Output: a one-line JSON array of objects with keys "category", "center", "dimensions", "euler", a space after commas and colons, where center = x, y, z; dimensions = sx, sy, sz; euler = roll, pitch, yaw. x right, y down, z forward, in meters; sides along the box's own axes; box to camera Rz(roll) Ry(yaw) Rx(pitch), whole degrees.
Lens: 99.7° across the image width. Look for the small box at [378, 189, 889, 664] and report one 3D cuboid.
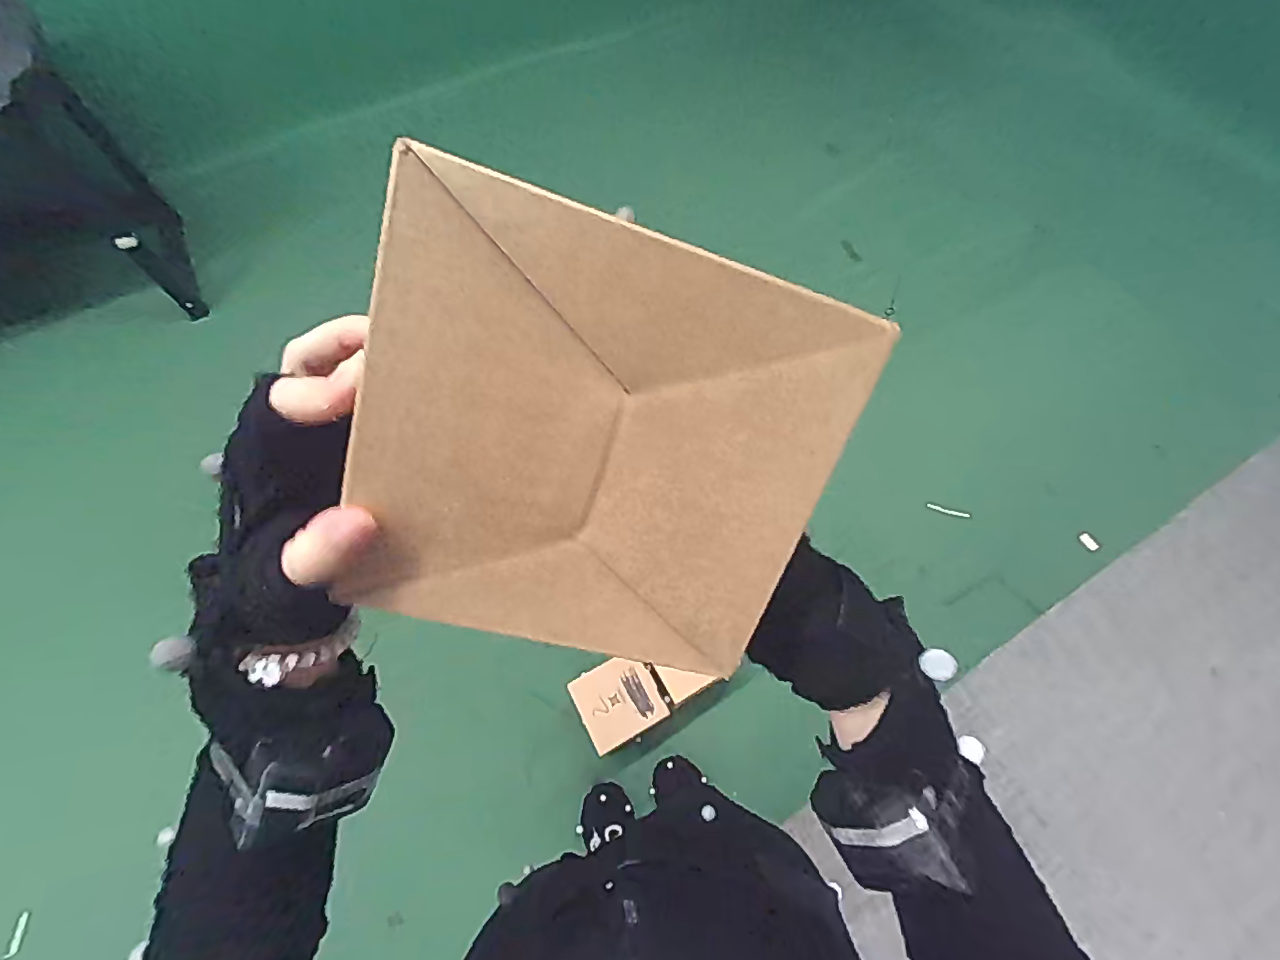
[{"category": "small box", "center": [-0.019, -0.032, 0.276], "dimensions": [0.179, 0.168, 0.176], "euler": [14, 23, -17]}]
